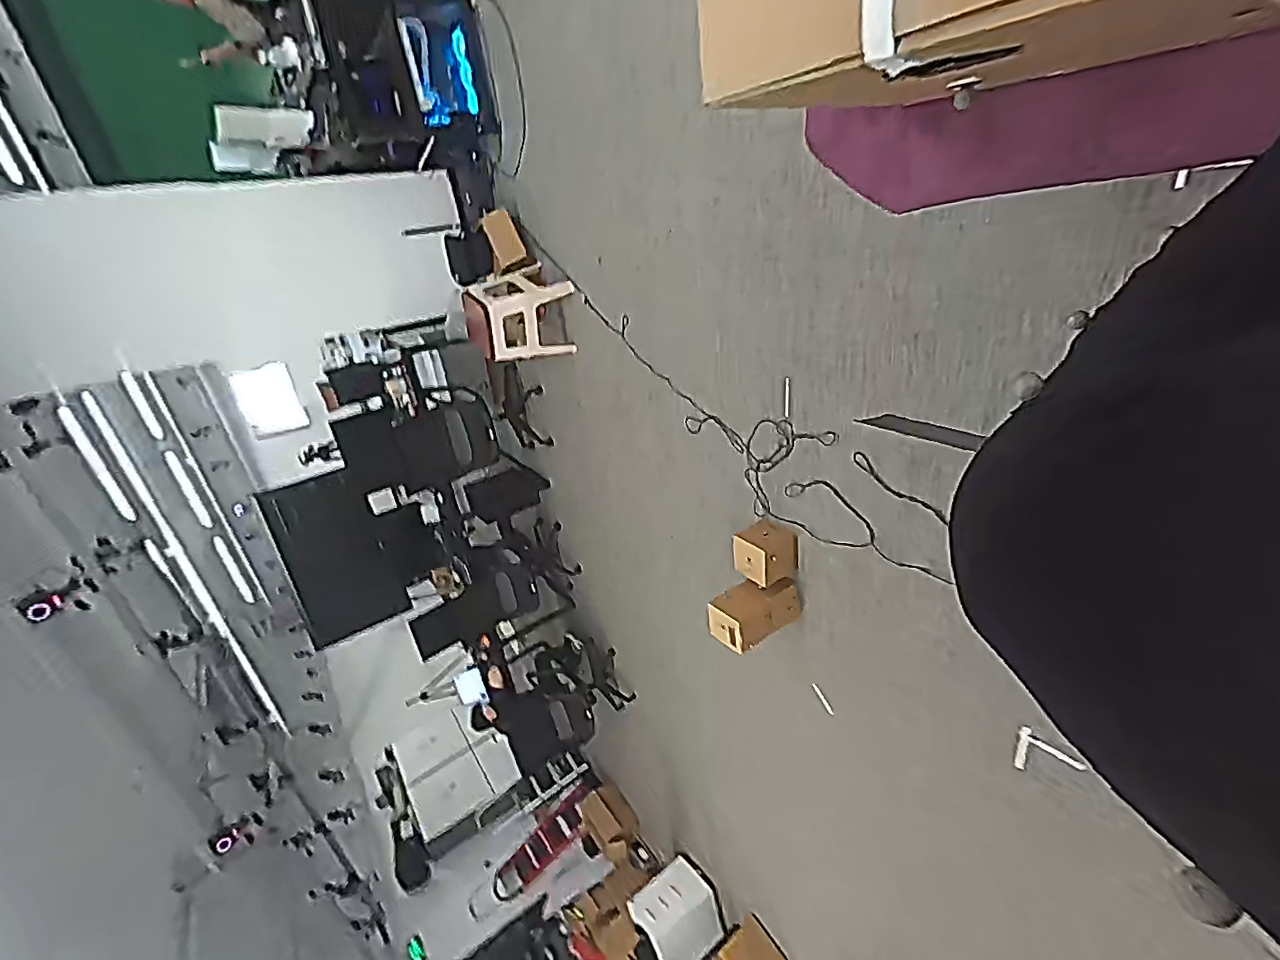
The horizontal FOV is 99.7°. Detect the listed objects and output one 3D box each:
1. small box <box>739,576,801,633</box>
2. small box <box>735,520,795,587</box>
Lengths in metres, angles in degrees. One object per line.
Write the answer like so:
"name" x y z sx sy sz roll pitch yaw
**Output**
"small box" 0.534 0.490 2.215 0.179 0.176 0.168 19 127 53
"small box" 0.492 0.280 2.121 0.168 0.176 0.179 30 136 48
